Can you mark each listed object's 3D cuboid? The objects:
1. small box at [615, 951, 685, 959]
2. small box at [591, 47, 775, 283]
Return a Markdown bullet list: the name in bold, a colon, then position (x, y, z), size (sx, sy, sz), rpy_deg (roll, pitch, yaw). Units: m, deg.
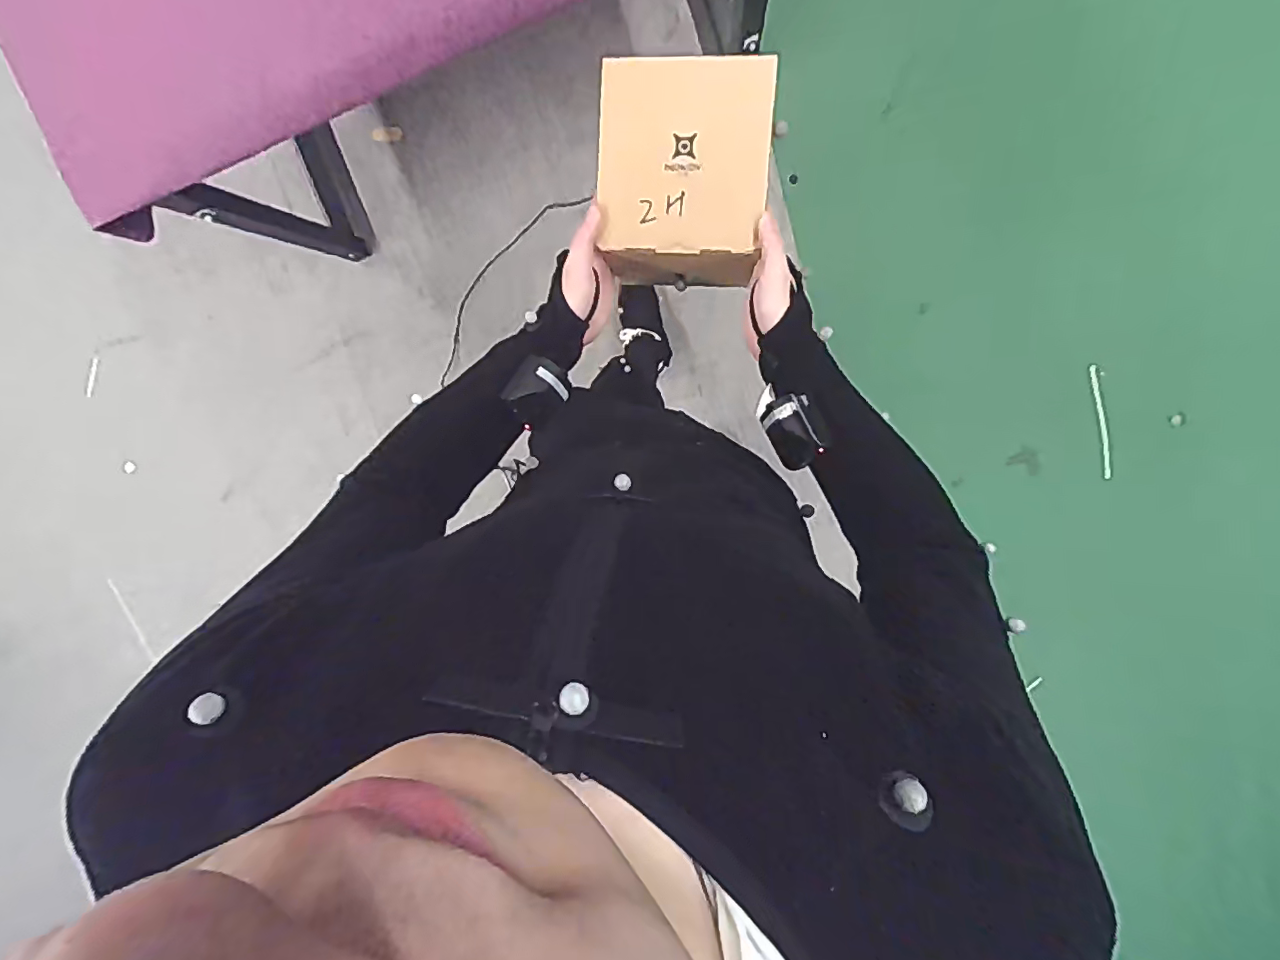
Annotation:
- **small box**: position (0.027, 1.196, 1.203), size (0.168, 0.176, 0.179), rpy_deg (-10, 102, 9)
- **small box**: position (0.047, -0.329, 0.595), size (0.168, 0.176, 0.179), rpy_deg (5, 99, 7)
